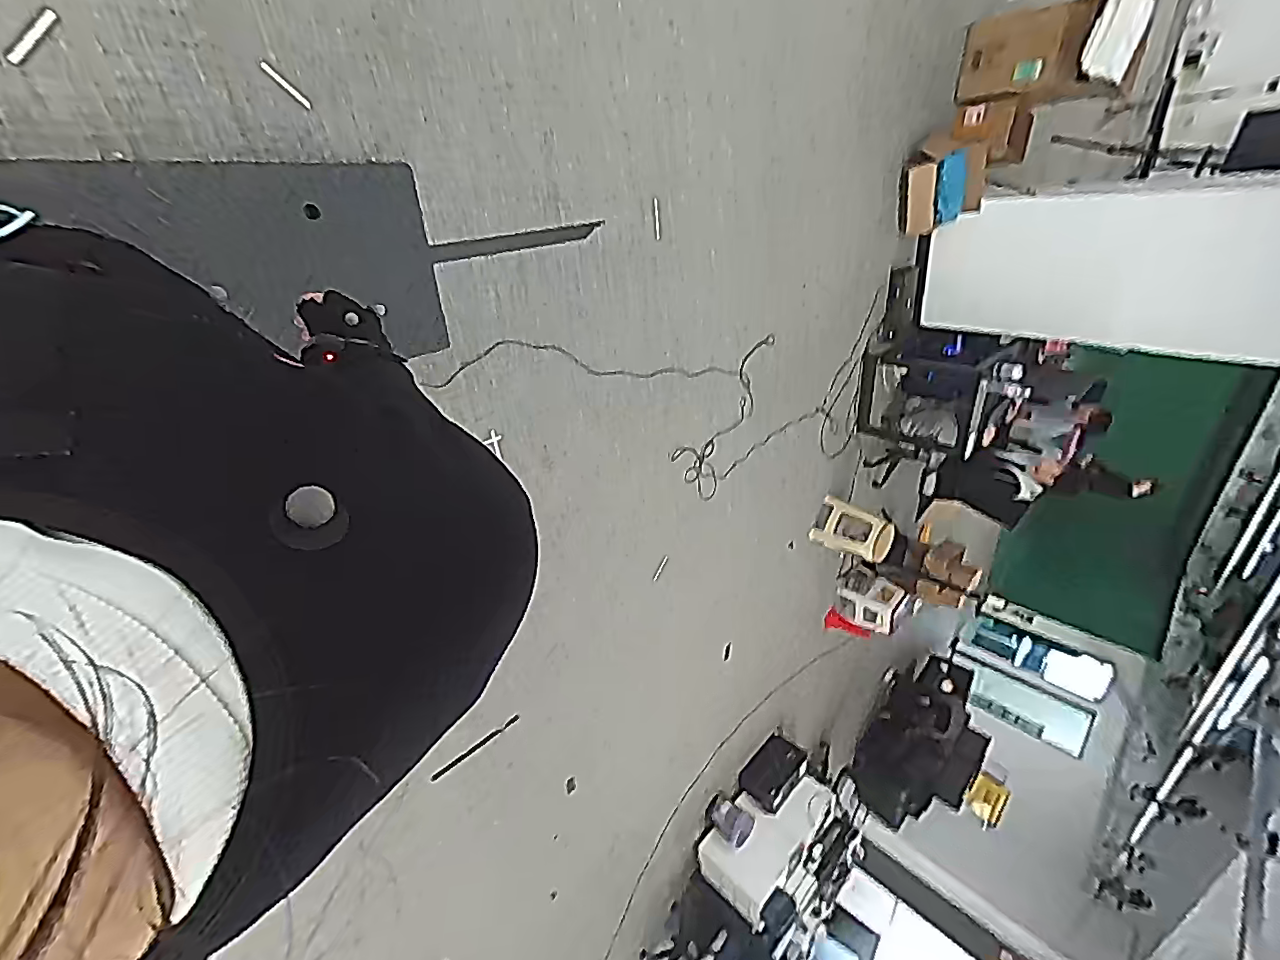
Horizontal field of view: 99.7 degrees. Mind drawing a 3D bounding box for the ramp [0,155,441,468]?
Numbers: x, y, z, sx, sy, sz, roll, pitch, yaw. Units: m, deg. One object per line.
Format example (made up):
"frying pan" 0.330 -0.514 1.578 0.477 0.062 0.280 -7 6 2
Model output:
"ramp" -0.907 -0.426 1.179 0.991 0.206 0.509 -29 126 -36
